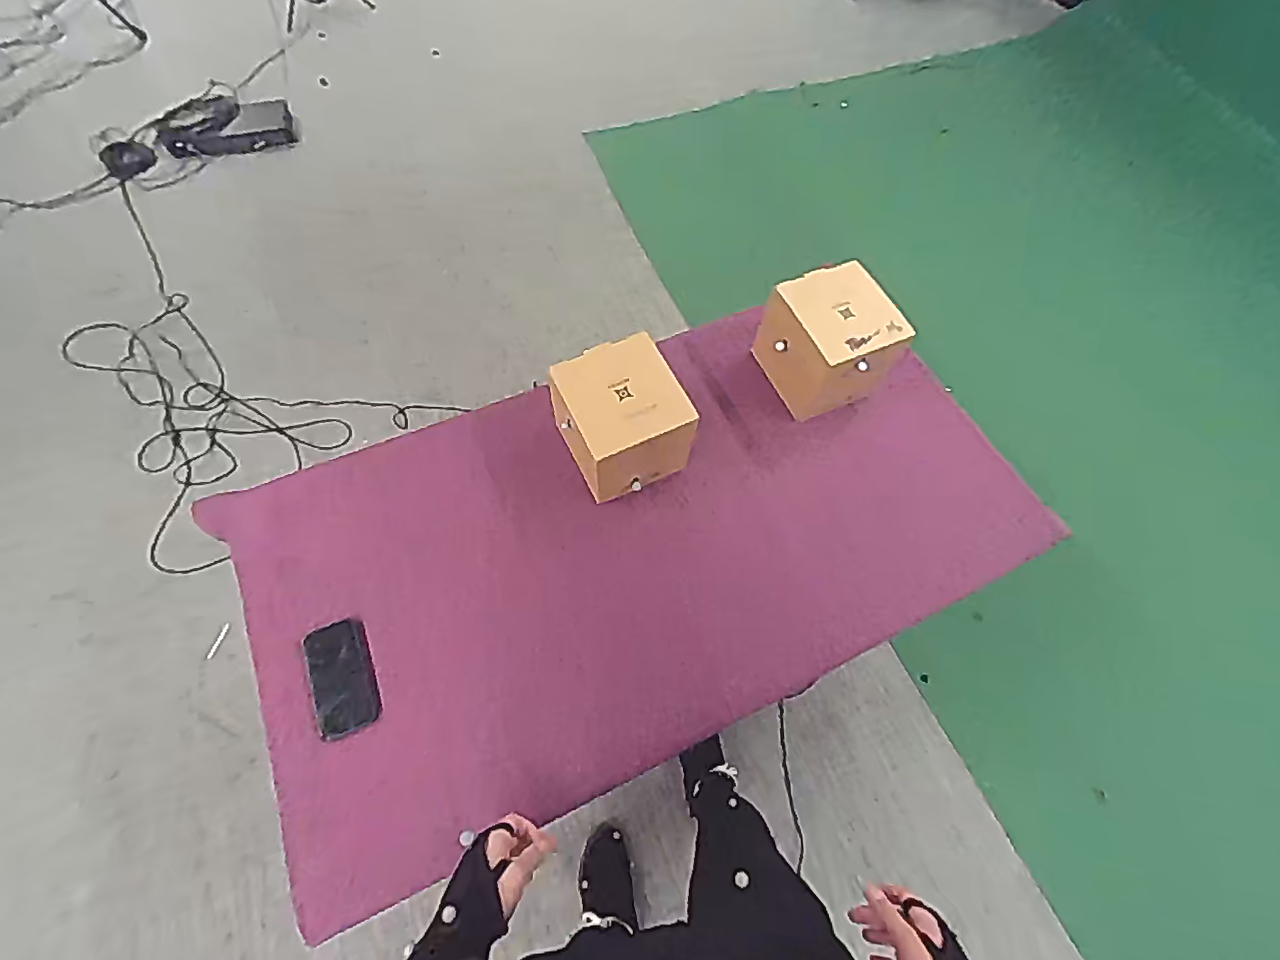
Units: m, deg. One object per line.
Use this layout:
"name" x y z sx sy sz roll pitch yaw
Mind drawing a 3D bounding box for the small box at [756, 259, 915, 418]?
"small box" 0.321 -0.238 0.932 0.168 0.176 0.179 -22 67 -11

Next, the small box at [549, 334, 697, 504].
"small box" -0.030 -0.090 0.853 0.168 0.176 0.179 -24 68 -12
